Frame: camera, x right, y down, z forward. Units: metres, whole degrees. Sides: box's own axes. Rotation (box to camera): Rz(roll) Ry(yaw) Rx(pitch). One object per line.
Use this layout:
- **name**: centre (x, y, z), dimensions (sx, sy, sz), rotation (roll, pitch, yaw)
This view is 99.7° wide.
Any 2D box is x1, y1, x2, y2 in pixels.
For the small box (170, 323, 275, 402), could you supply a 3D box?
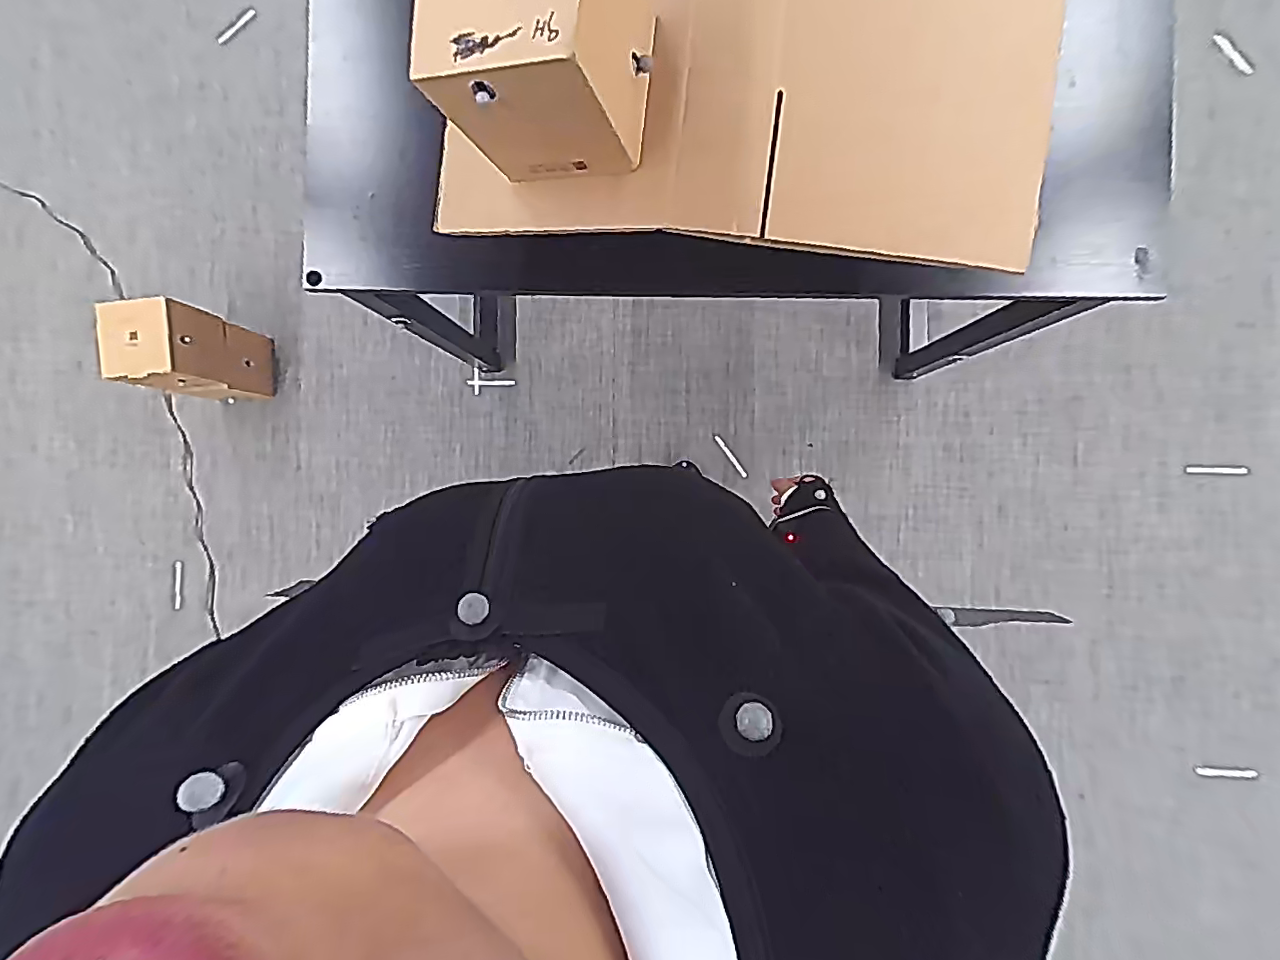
- **small box**: centre (-1.129, -0.313, 1.469), dimensions (0.168, 0.176, 0.179), rotation (-2, 90, 3)

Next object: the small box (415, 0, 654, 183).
- **small box**: centre (-0.091, -0.430, 0.538), dimensions (0.168, 0.176, 0.179), rotation (7, 90, 19)

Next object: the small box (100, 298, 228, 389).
- **small box**: centre (-1.138, -0.320, 1.306), dimensions (0.168, 0.176, 0.179), rotation (-5, 88, 2)
